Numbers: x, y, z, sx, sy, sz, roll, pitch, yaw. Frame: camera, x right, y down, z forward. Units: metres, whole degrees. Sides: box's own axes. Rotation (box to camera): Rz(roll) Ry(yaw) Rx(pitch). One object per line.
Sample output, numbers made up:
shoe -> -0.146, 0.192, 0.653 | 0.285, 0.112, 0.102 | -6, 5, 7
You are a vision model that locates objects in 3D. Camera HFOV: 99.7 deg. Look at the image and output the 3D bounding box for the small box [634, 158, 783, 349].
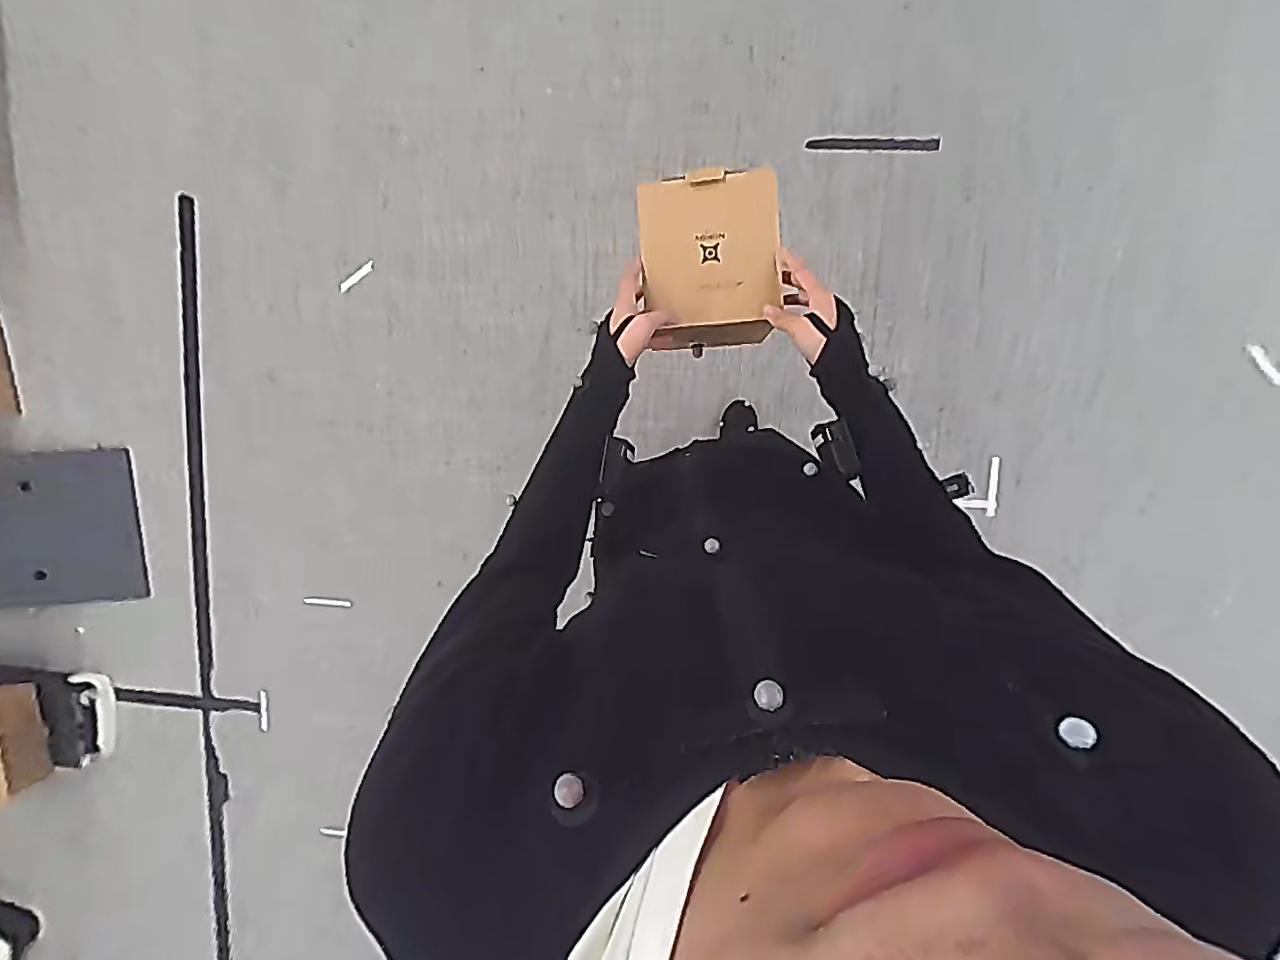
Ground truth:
small box -> 0.083, -0.280, 0.704 | 0.168, 0.176, 0.179 | -4, 93, 4
